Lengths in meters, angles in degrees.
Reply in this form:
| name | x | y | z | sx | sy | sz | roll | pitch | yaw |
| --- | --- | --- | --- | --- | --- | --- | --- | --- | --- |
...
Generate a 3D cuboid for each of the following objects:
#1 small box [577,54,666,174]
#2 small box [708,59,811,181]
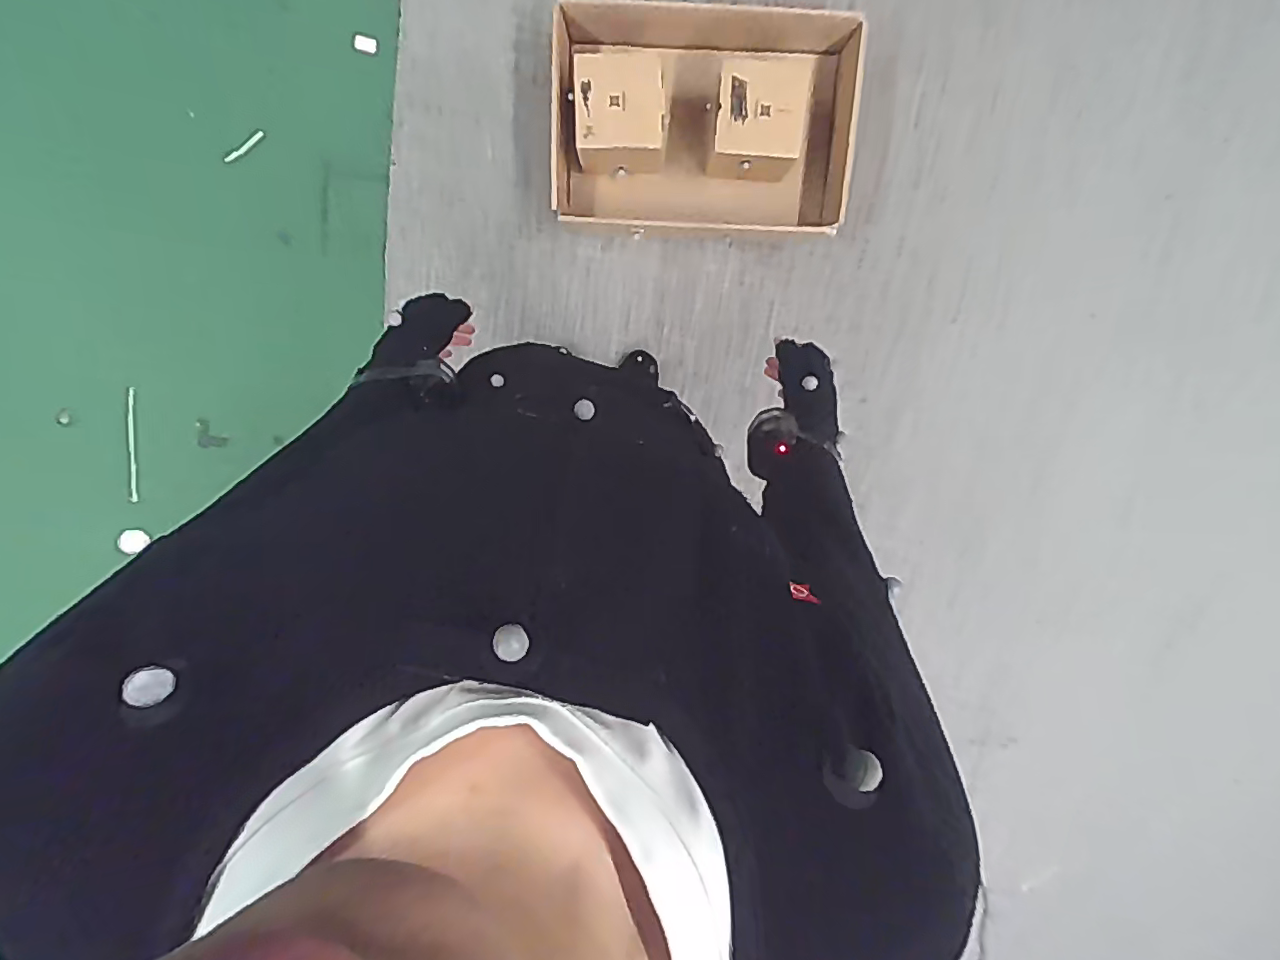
| name | x | y | z | sx | sy | sz | roll | pitch | yaw |
| --- | --- | --- | --- | --- | --- | --- | --- | --- | --- |
| small box | -0.039 | -0.763 | 1.143 | 0.179 | 0.176 | 0.168 | 0 | 104 | -1 |
| small box | 0.242 | -0.750 | 1.144 | 0.179 | 0.176 | 0.168 | 5 | 105 | 0 |
